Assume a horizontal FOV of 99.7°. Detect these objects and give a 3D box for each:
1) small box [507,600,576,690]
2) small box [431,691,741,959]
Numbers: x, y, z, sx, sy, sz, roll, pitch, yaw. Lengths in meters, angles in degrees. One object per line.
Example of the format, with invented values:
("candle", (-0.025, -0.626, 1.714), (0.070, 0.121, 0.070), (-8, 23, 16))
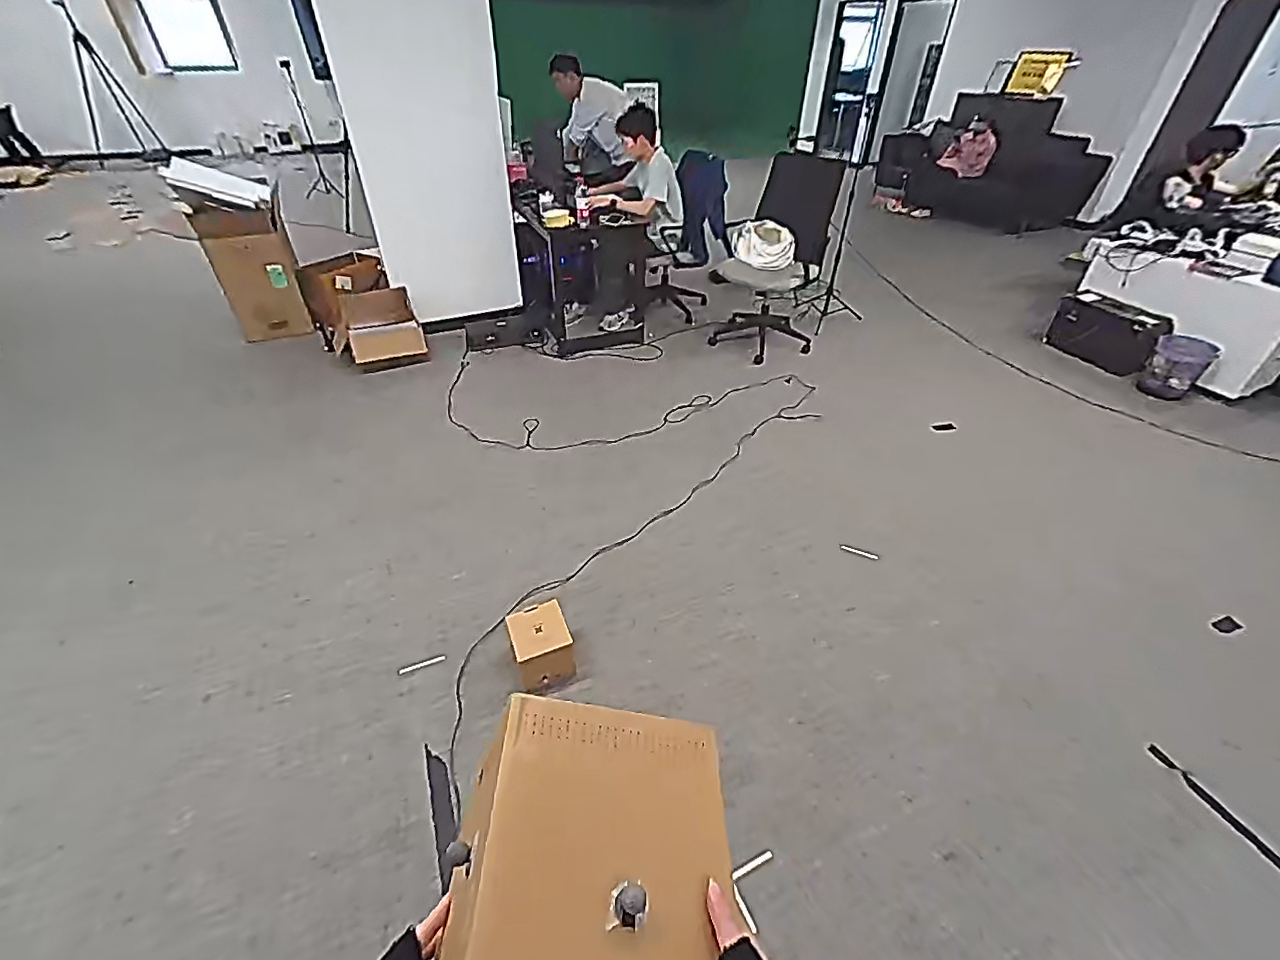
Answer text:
("small box", (-0.302, 0.506, 1.662), (0.168, 0.176, 0.179), (-15, 42, -17))
("small box", (-0.048, 0.288, 0.422), (0.179, 0.168, 0.176), (17, 37, -16))
